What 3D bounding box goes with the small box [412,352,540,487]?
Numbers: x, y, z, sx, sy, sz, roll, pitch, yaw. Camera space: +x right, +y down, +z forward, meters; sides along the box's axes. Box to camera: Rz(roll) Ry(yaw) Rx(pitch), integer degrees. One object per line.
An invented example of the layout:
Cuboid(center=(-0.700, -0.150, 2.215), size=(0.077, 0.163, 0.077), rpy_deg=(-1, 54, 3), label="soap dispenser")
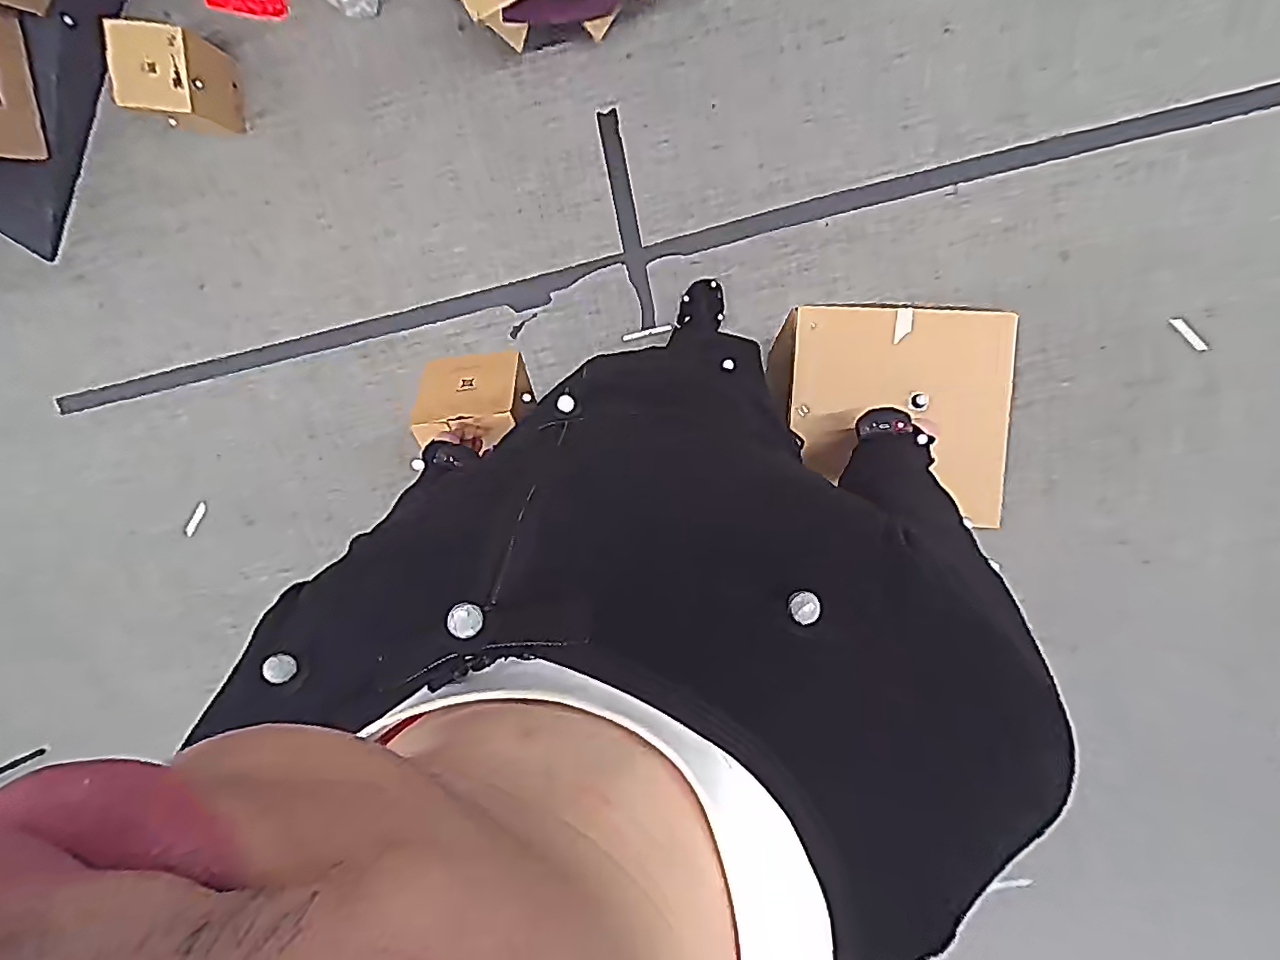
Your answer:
Cuboid(center=(-0.280, -0.102, 0.969), size=(0.168, 0.179, 0.176), rpy_deg=(-7, 138, 1), label="small box")
